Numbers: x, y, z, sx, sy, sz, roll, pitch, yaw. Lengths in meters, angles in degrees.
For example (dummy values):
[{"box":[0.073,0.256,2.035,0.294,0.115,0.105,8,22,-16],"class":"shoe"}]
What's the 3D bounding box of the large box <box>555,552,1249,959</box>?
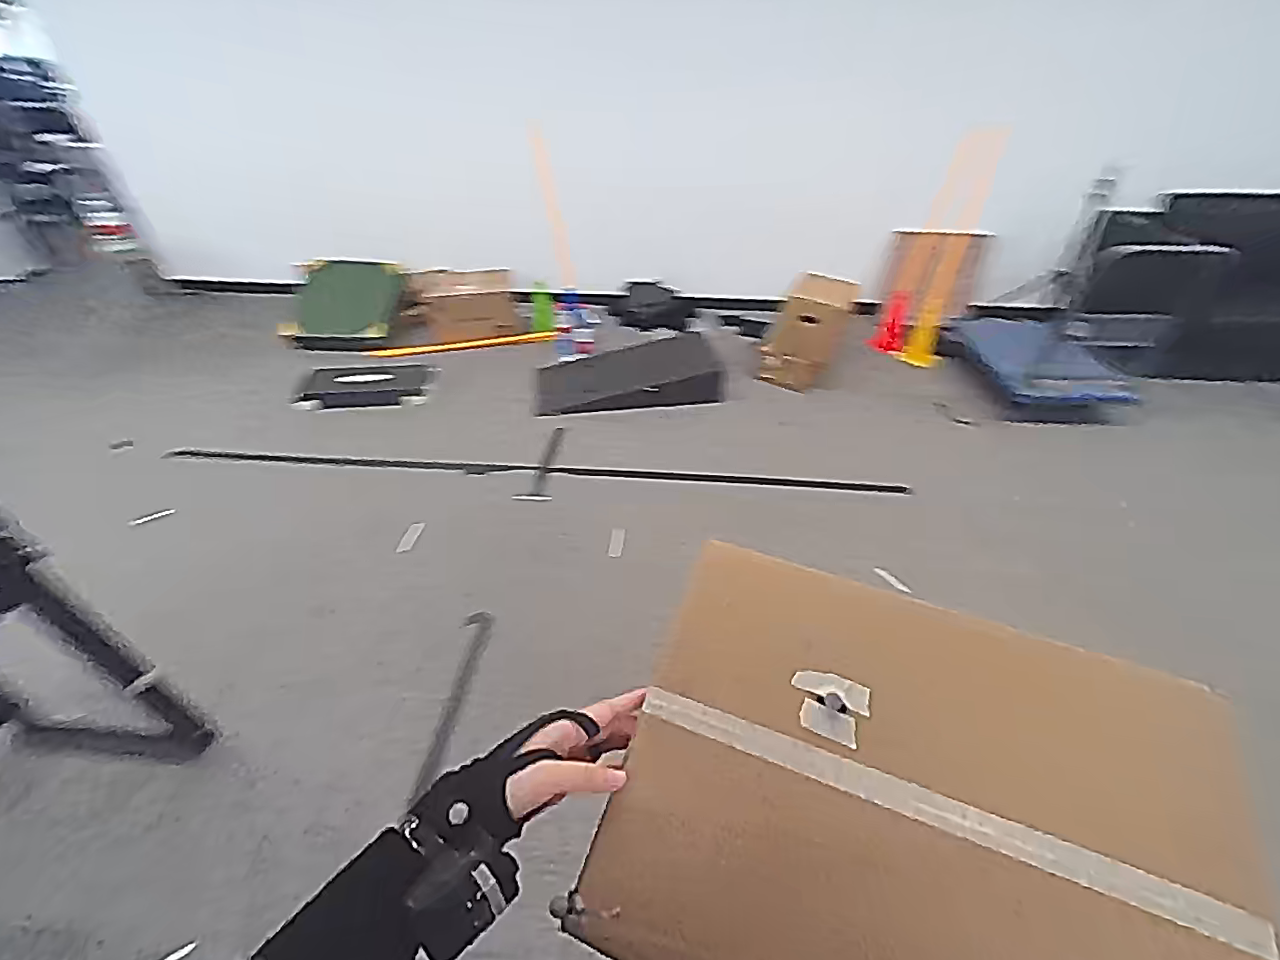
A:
[{"box":[0.195,0.312,0.499,0.408,0.320,0.320,13,57,16],"class":"large box"}]
